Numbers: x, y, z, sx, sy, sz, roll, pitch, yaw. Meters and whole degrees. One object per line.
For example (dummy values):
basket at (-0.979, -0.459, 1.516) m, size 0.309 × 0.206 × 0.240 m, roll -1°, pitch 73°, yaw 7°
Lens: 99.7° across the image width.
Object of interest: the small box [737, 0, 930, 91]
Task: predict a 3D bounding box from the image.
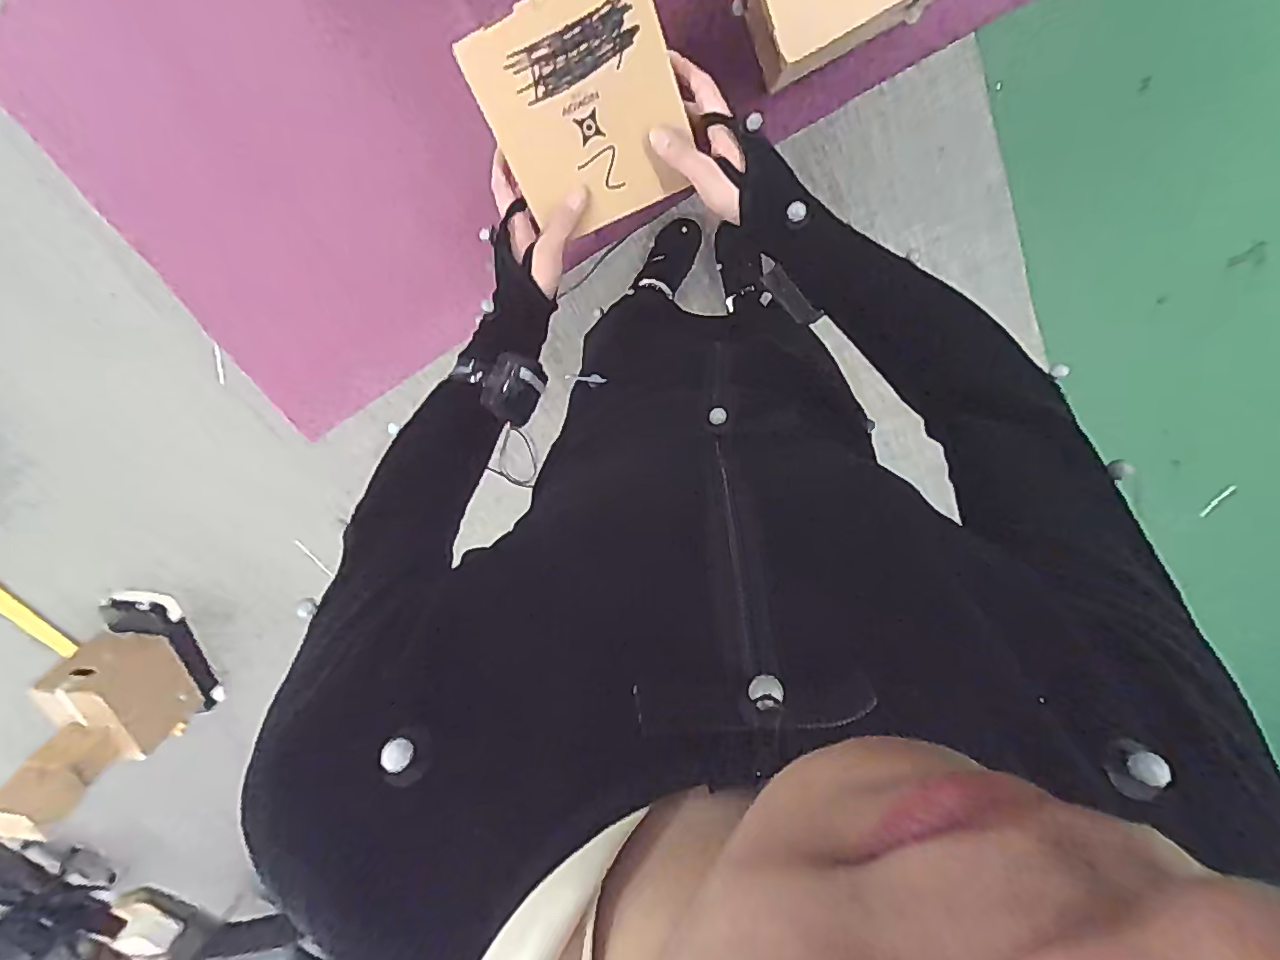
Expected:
small box at (0.186, -0.516, 0.521) m, size 0.179 × 0.176 × 0.168 m, roll -20°, pitch 113°, yaw 18°
